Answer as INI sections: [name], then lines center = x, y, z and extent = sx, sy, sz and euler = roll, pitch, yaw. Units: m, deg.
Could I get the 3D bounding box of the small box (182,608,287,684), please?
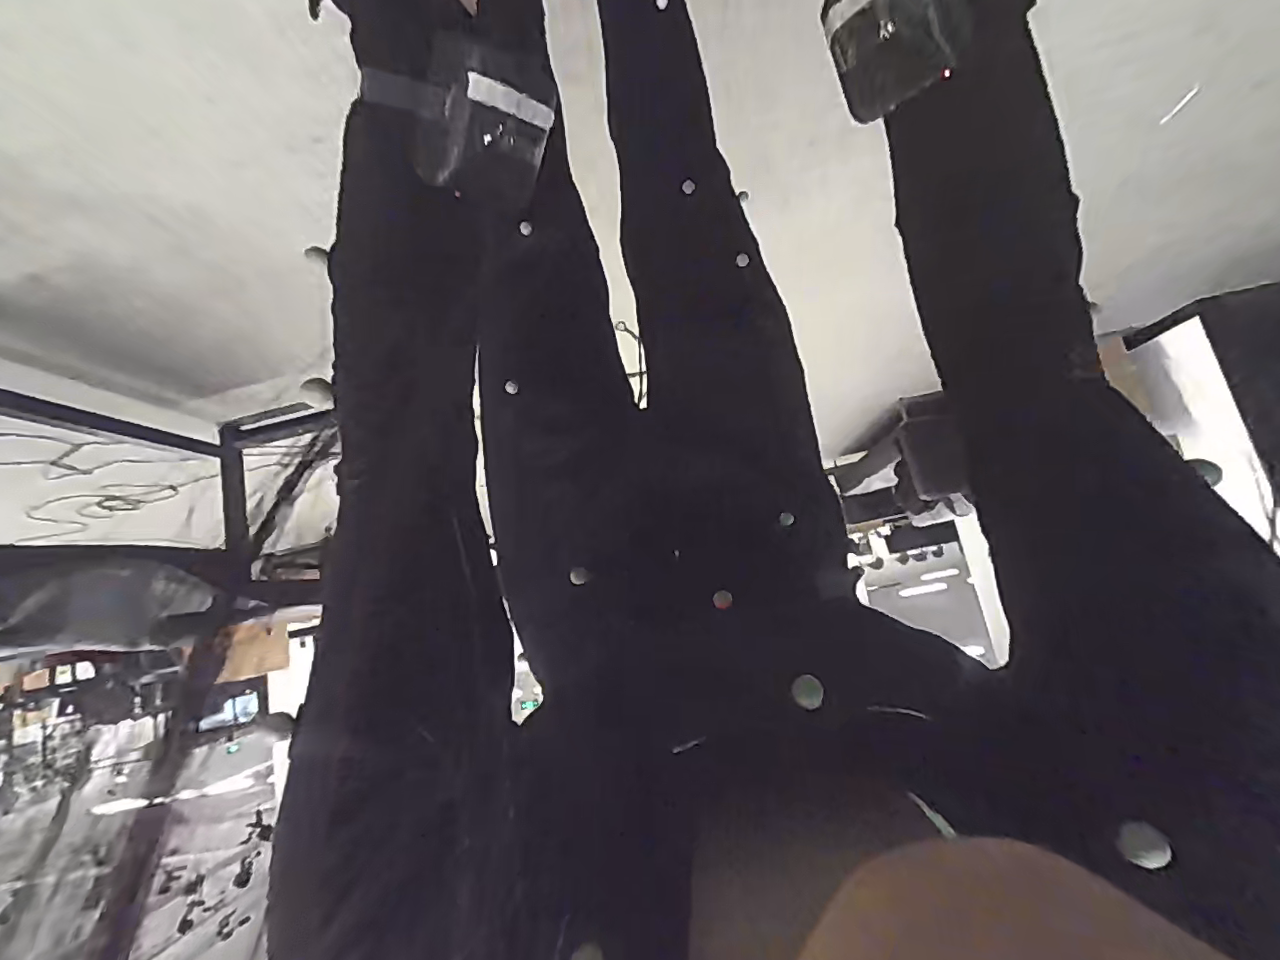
[small box]
center = -1.123, 0.455, 1.504
extent = 0.179, 0.176, 0.168
euler = -13, 169, 7
